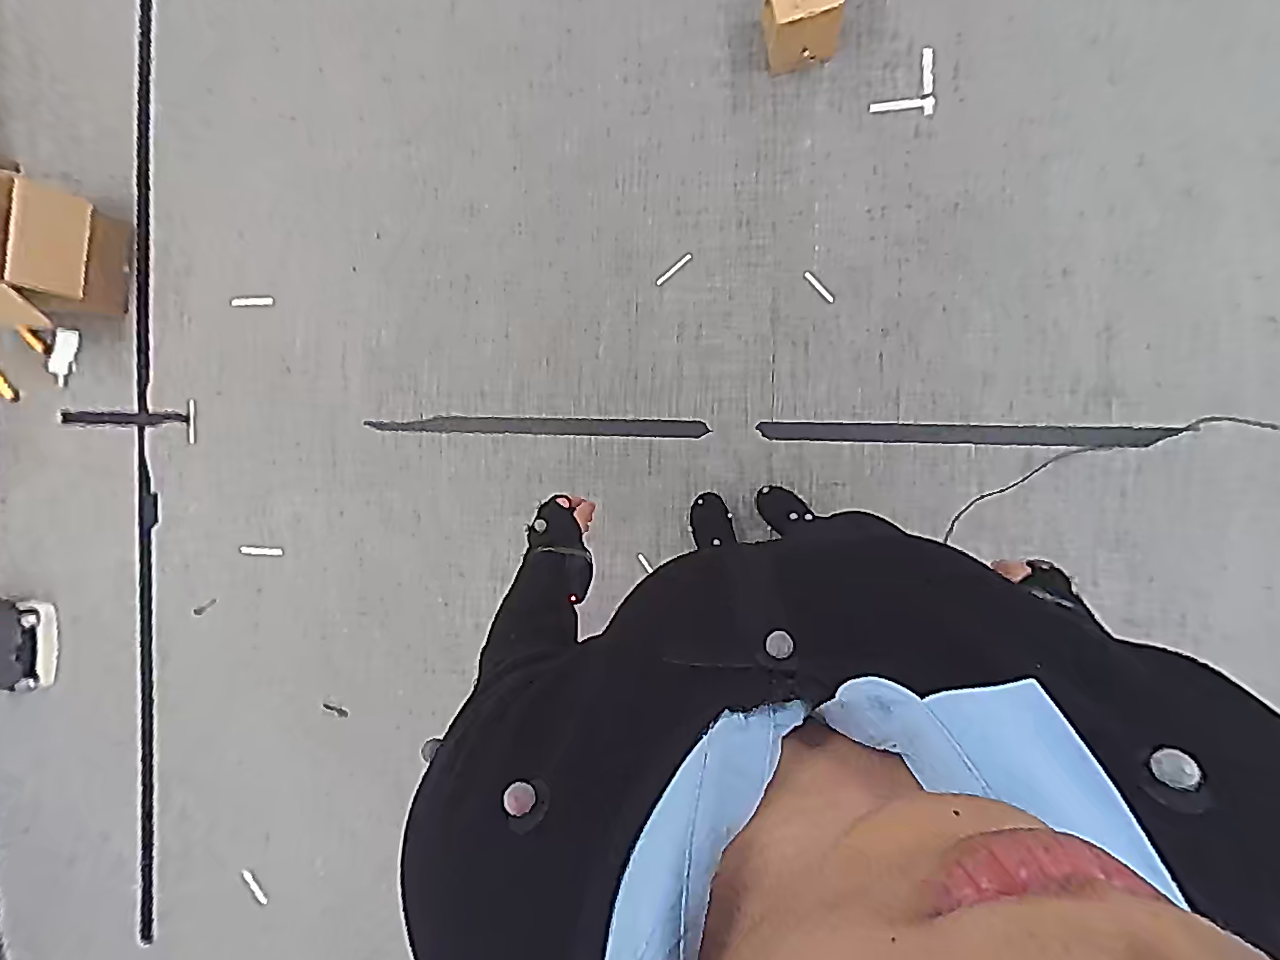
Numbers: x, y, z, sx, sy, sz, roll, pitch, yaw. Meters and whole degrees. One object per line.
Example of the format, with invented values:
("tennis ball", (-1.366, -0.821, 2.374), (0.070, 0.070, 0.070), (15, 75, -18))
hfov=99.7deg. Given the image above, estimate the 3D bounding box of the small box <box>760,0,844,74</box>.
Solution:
("small box", (0.405, -1.196, 1.375), (0.168, 0.176, 0.179), (-11, 89, 10))
